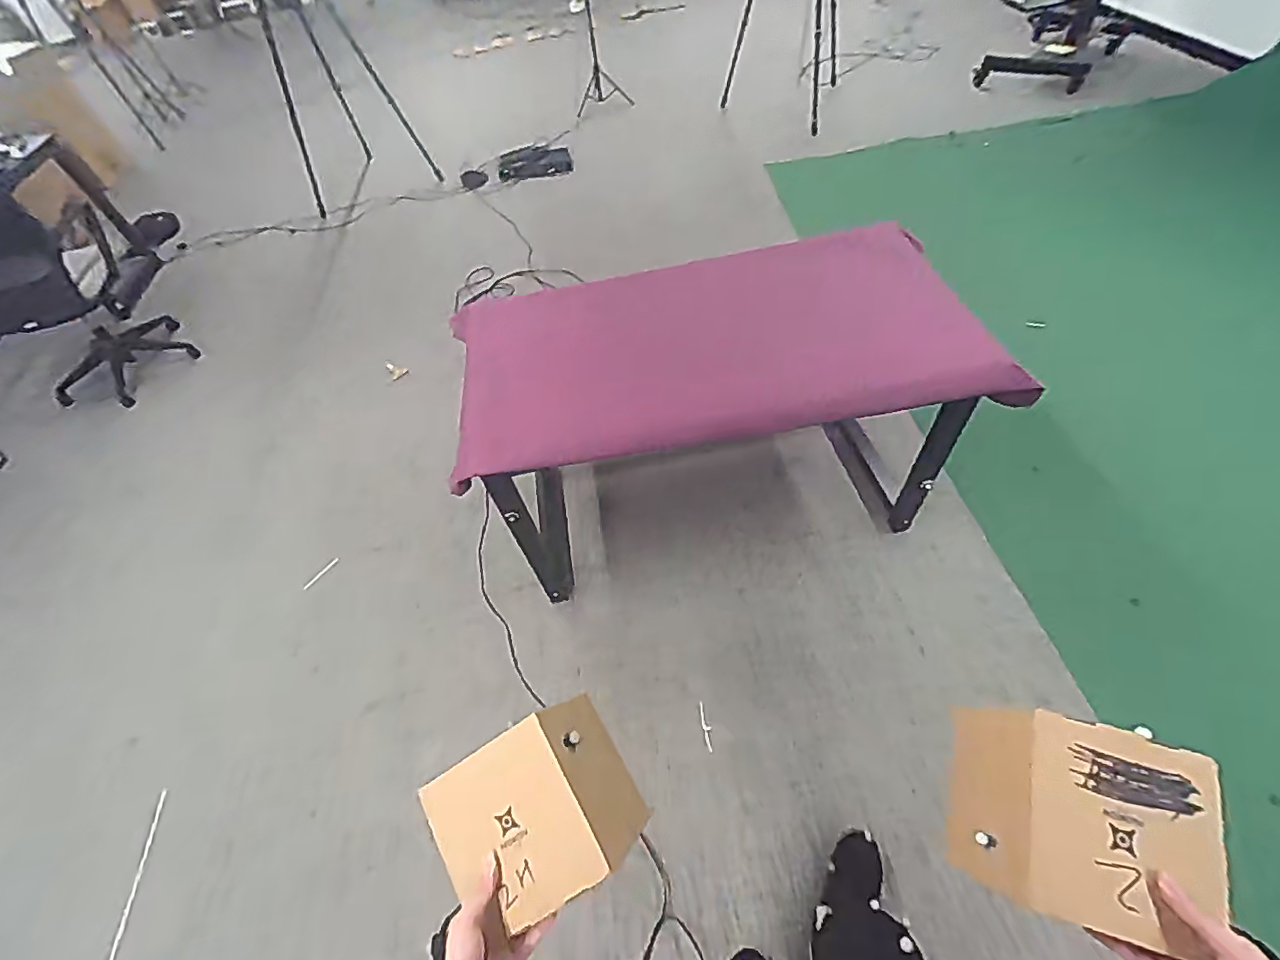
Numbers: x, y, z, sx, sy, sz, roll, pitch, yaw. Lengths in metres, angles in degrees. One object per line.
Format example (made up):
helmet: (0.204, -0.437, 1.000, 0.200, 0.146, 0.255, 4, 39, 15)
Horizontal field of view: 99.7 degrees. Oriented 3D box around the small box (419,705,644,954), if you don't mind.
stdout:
small box: (-0.119, 0.389, 0.645, 0.168, 0.176, 0.179, -35, 70, 5)
